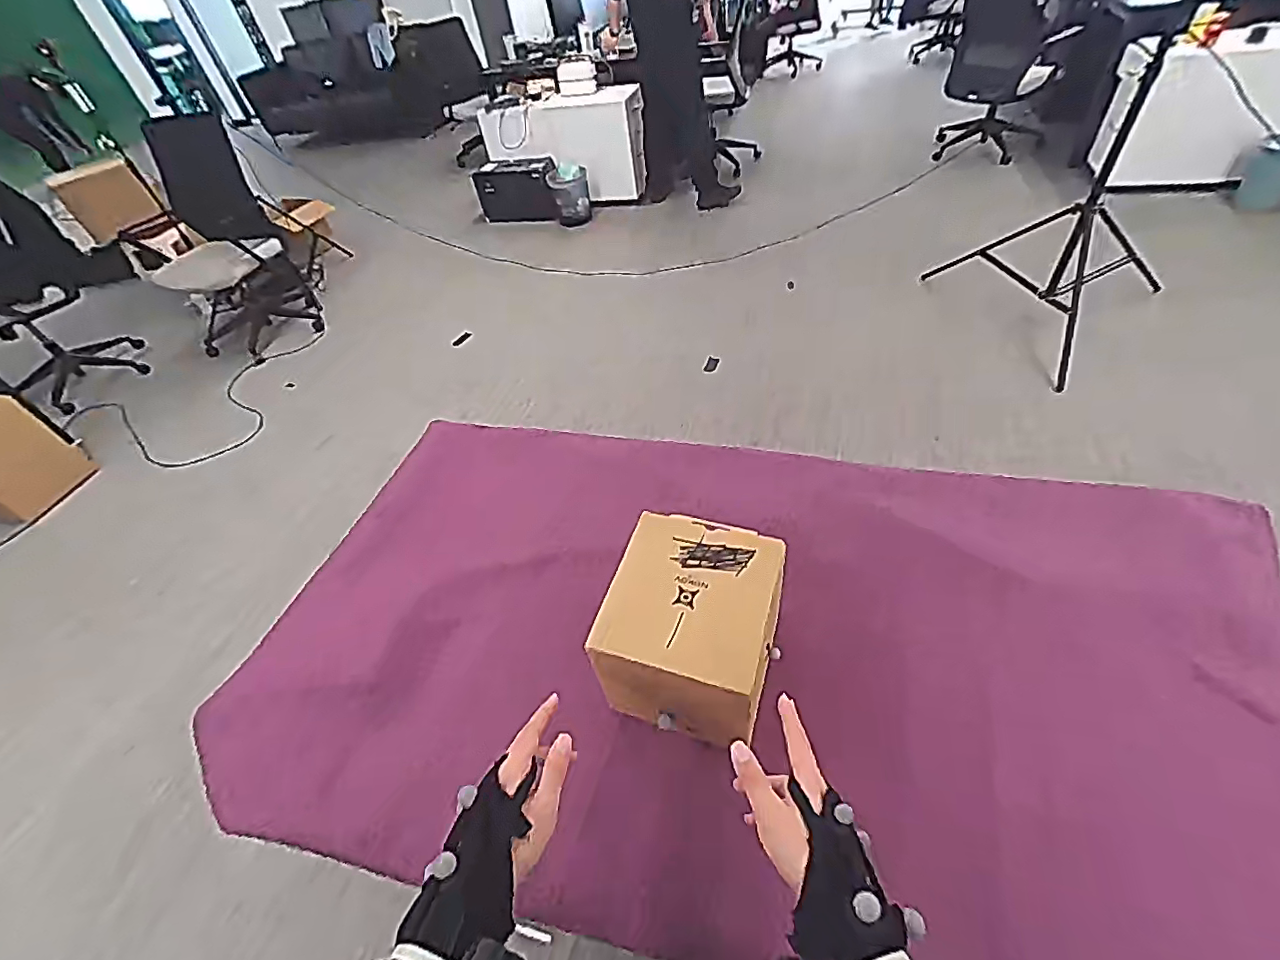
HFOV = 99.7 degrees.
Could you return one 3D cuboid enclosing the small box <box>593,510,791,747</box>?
[{"bbox_3d":[0.065,0.165,0.608,0.168,0.176,0.179,10,50,19],"label":"small box"}]
